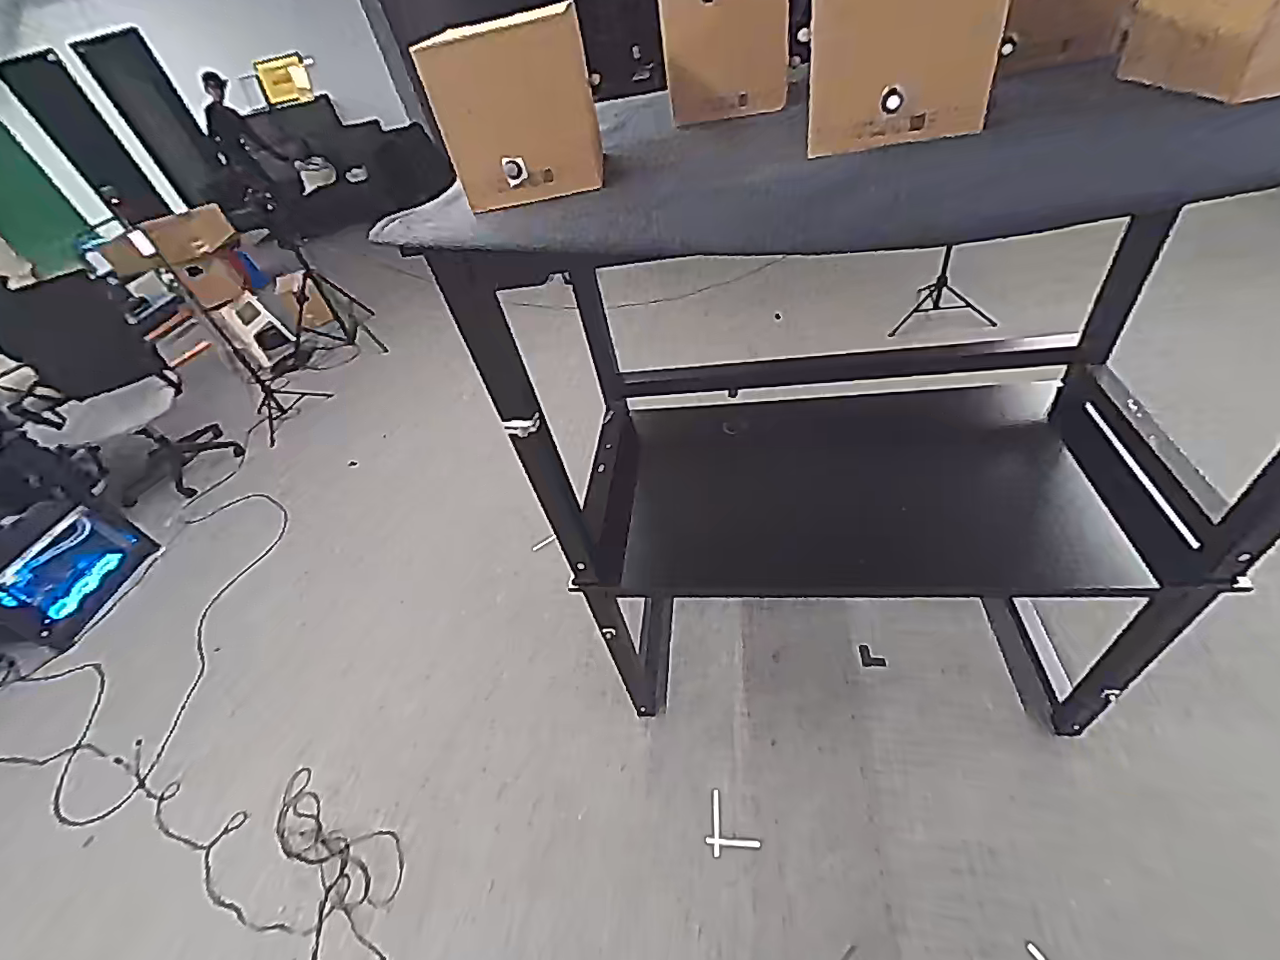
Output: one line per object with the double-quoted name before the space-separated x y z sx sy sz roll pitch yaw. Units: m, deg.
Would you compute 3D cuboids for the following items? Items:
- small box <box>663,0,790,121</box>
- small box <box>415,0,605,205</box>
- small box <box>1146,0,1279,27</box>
"small box" 0.132 -0.645 0.786 0.168 0.176 0.179 0 45 16
"small box" -0.142 -0.460 0.664 0.168 0.176 0.179 -9 43 6
"small box" 0.778 -0.670 0.646 0.168 0.176 0.179 -11 46 4
